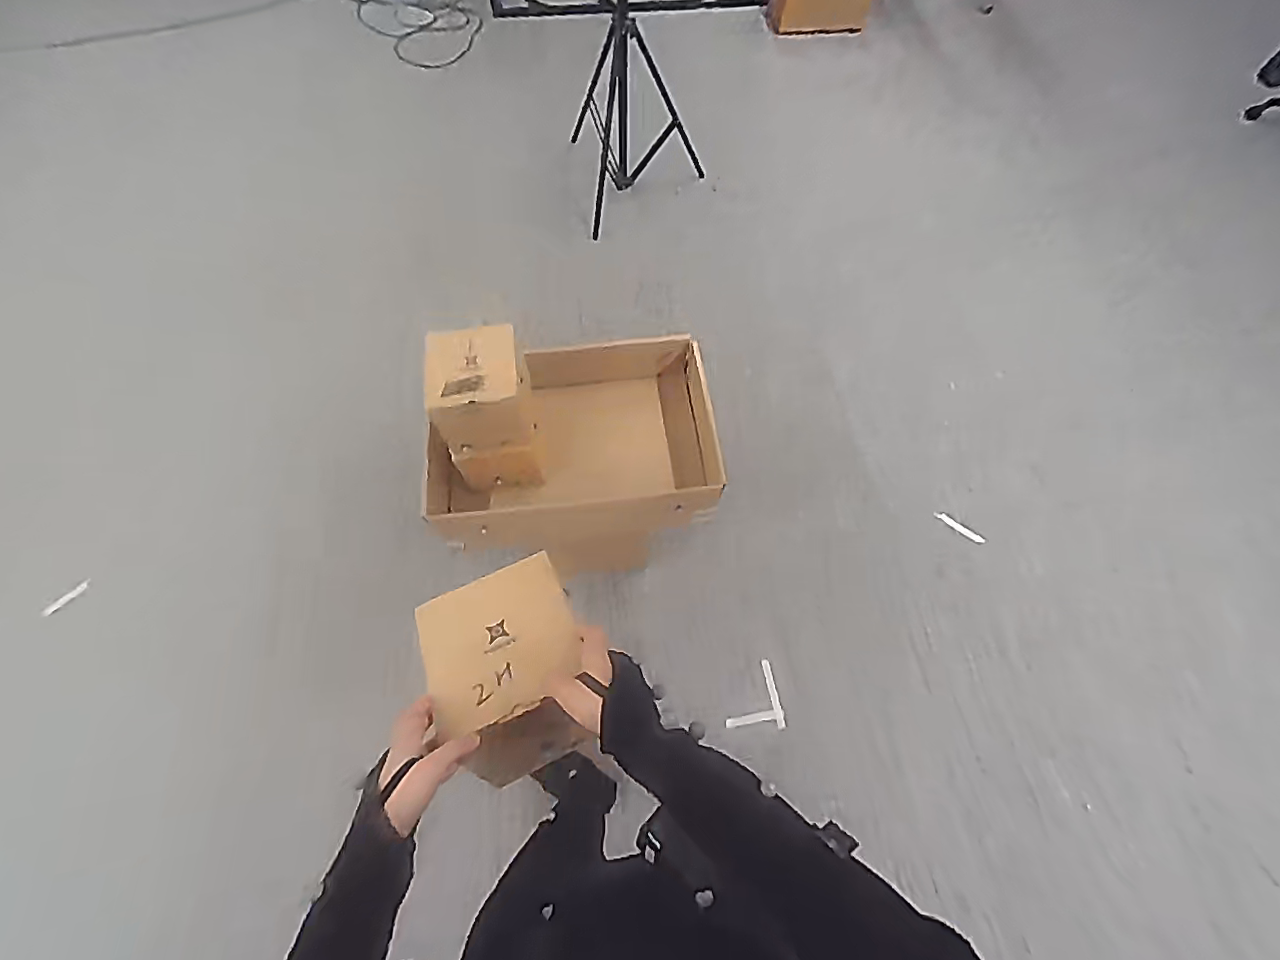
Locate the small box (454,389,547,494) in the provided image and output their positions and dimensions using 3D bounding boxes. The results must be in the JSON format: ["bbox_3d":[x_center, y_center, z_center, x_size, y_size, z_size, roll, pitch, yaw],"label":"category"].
[{"bbox_3d":[-0.305,-0.087,1.197,0.168,0.176,0.179,-8,66,-4],"label":"small box"}]

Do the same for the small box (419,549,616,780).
[{"bbox_3d":[-0.141,0.221,0.646,0.168,0.176,0.179,-23,50,-10],"label":"small box"}]

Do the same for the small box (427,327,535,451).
[{"bbox_3d":[-0.303,-0.167,1.054,0.168,0.176,0.179,-8,65,-4],"label":"small box"}]
